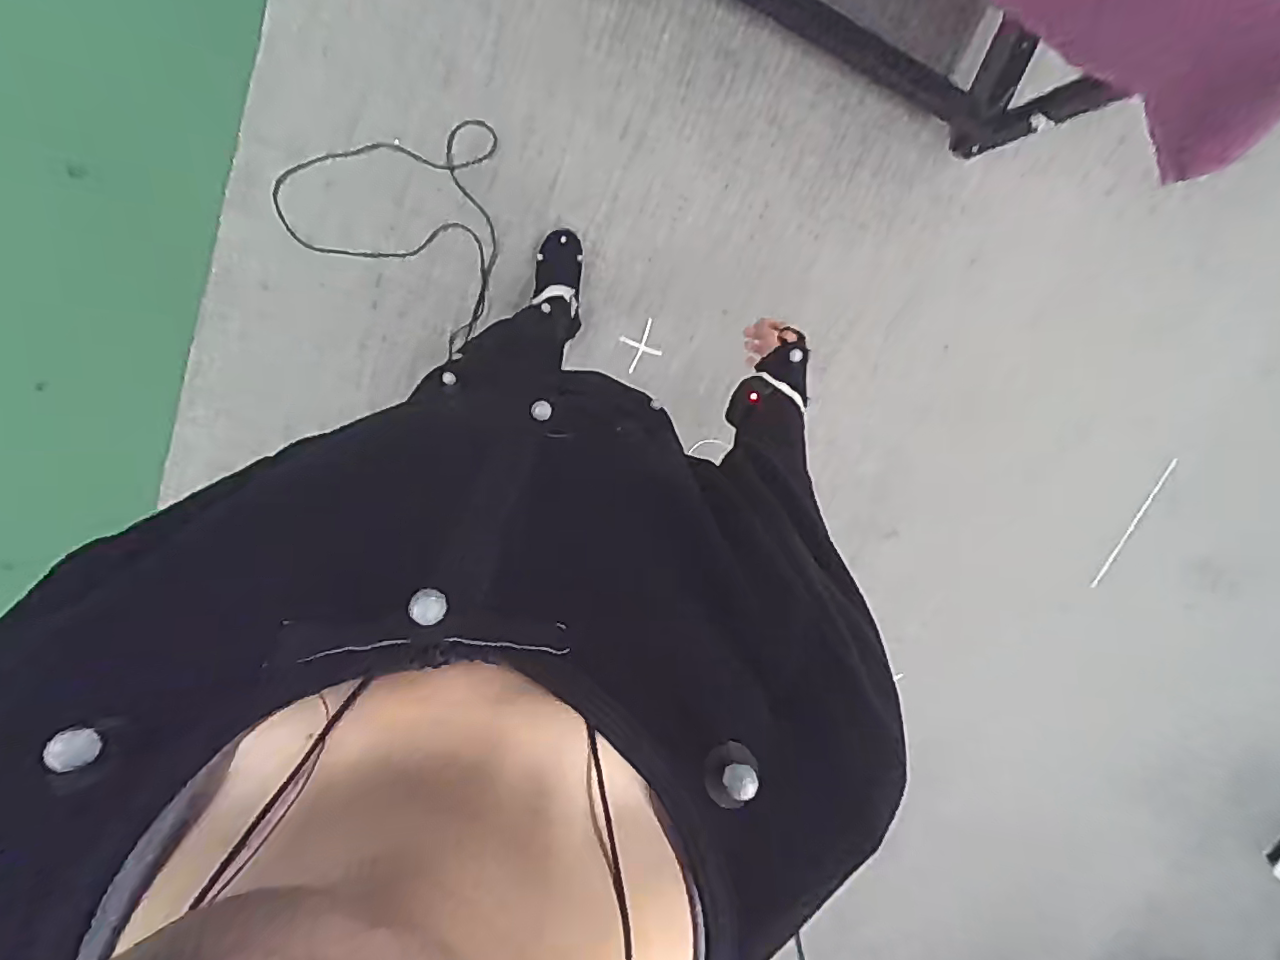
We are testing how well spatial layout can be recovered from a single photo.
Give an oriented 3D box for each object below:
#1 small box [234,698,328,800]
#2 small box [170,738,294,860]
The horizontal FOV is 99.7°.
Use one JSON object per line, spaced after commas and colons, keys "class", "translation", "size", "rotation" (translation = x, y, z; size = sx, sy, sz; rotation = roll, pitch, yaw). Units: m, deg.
{"class": "small box", "translation": [-0.965, 0.710, 1.441], "size": [0.179, 0.176, 0.168], "rotation": [17, 102, -13]}
{"class": "small box", "translation": [-0.955, 0.746, 1.280], "size": [0.168, 0.176, 0.179], "rotation": [17, 102, -12]}
